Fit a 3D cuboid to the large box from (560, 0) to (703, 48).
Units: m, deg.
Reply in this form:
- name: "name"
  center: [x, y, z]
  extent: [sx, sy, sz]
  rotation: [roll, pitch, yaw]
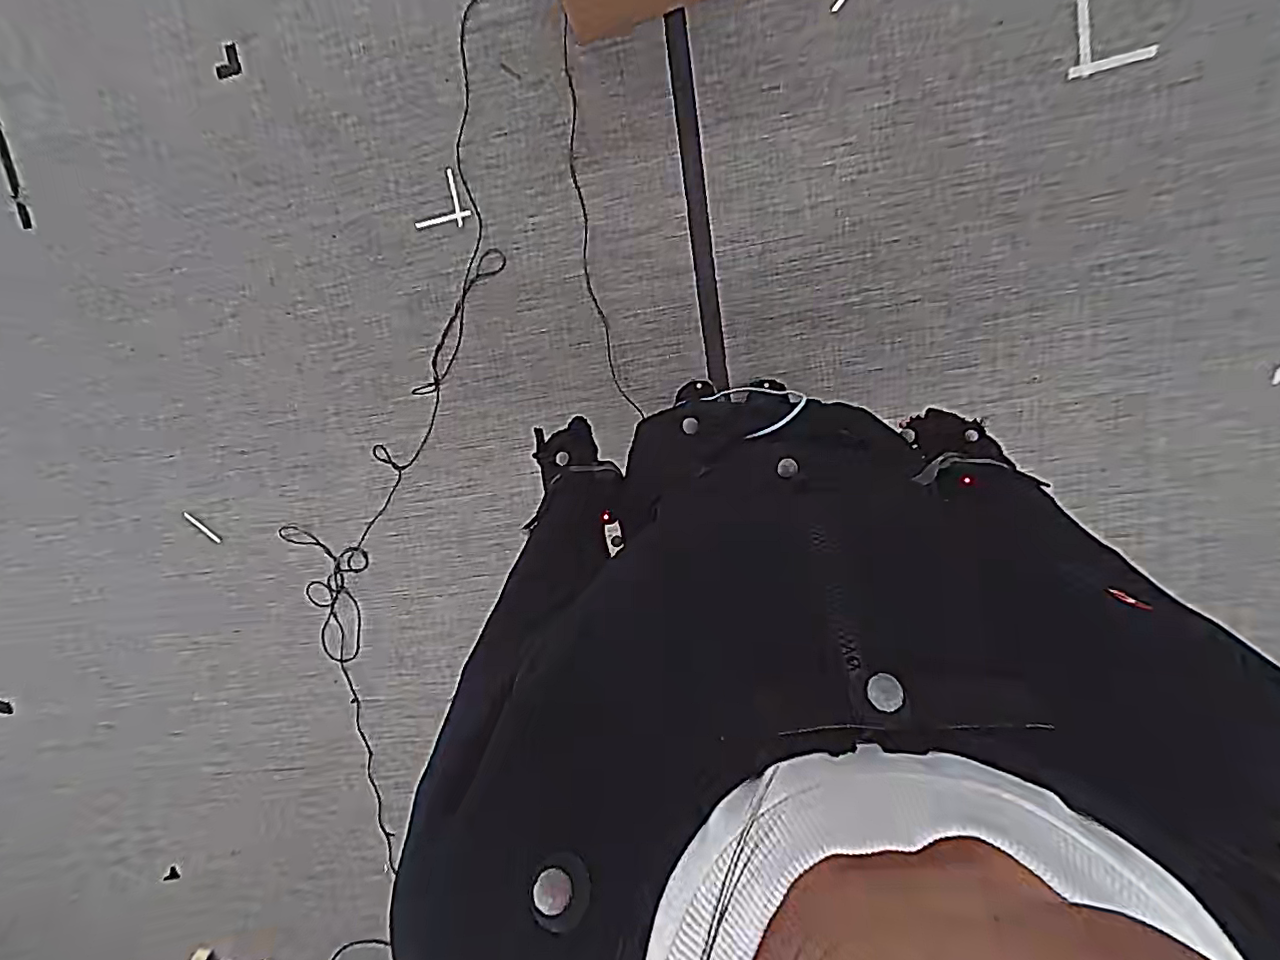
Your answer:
- name: "large box"
  center: [-0.015, -1.183, 1.084]
  extent: [0.408, 0.320, 0.320]
  rotation: [-14, 101, 8]
